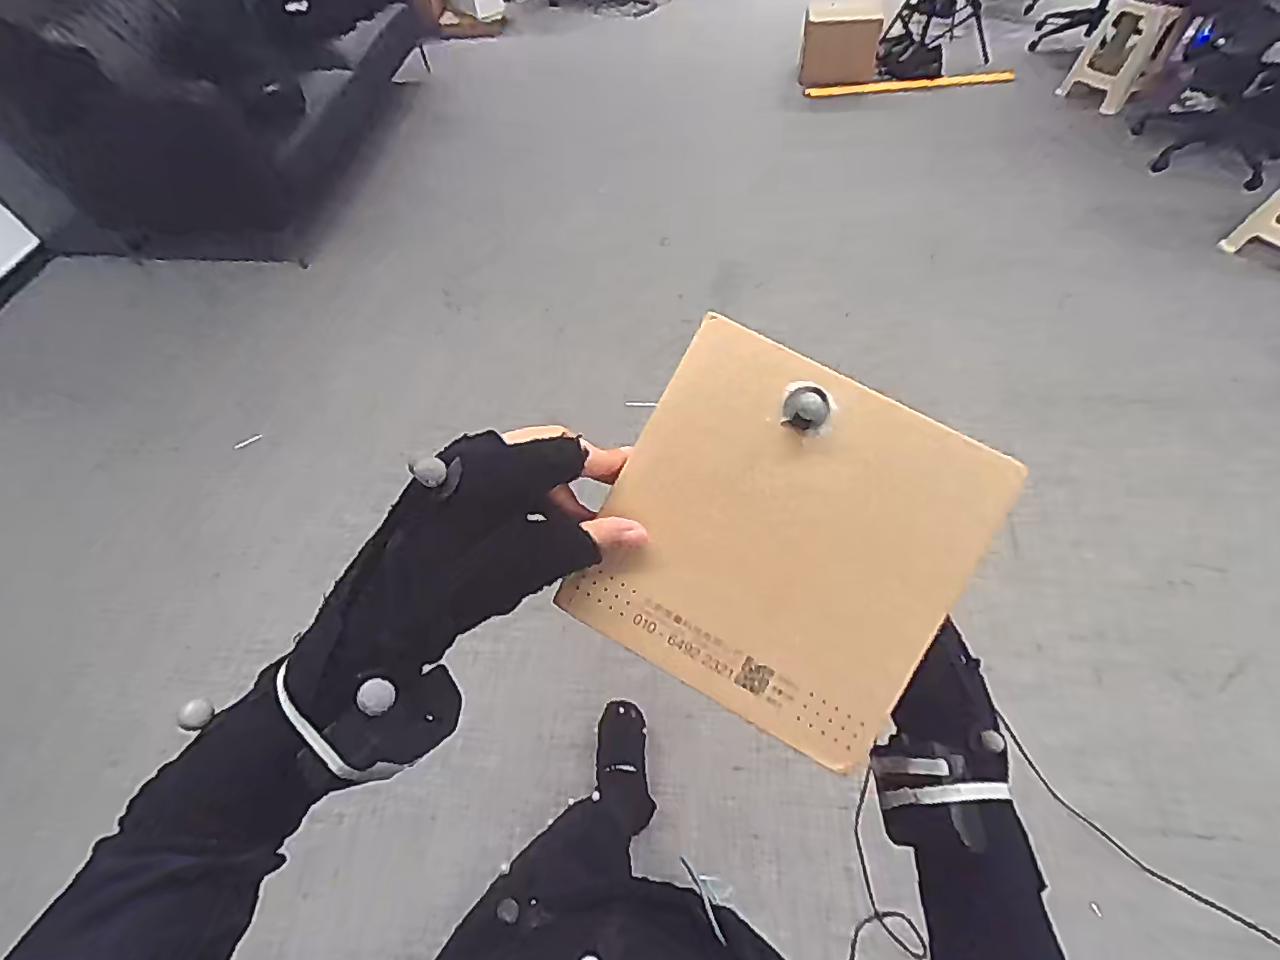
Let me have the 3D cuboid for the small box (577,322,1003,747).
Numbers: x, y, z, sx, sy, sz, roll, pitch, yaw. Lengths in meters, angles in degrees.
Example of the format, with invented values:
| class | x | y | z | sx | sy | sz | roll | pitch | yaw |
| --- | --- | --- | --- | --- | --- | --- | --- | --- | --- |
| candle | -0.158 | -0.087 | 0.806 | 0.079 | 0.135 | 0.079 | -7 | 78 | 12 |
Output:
| class | x | y | z | sx | sy | sz | roll | pitch | yaw |
| --- | --- | --- | --- | --- | --- | --- | --- | --- | --- |
| small box | 0.079 | 0.032 | 0.355 | 0.168 | 0.179 | 0.176 | 28 | 90 | 9 |
